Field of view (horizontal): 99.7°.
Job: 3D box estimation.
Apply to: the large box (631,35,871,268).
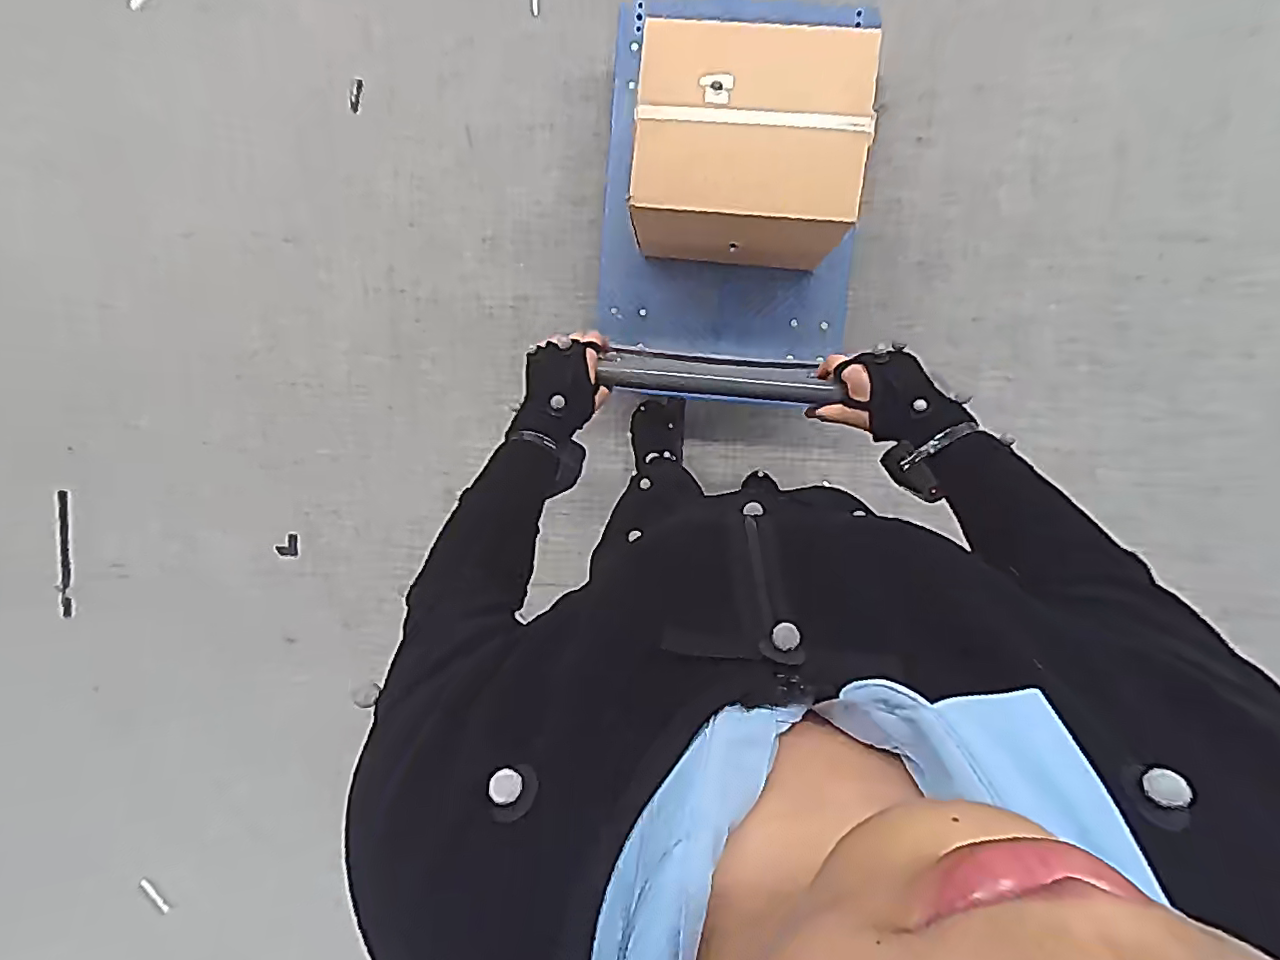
[{"bbox_3d":[0.207,-0.640,1.108,0.408,0.320,0.320,6,96,5],"label":"large box"}]
